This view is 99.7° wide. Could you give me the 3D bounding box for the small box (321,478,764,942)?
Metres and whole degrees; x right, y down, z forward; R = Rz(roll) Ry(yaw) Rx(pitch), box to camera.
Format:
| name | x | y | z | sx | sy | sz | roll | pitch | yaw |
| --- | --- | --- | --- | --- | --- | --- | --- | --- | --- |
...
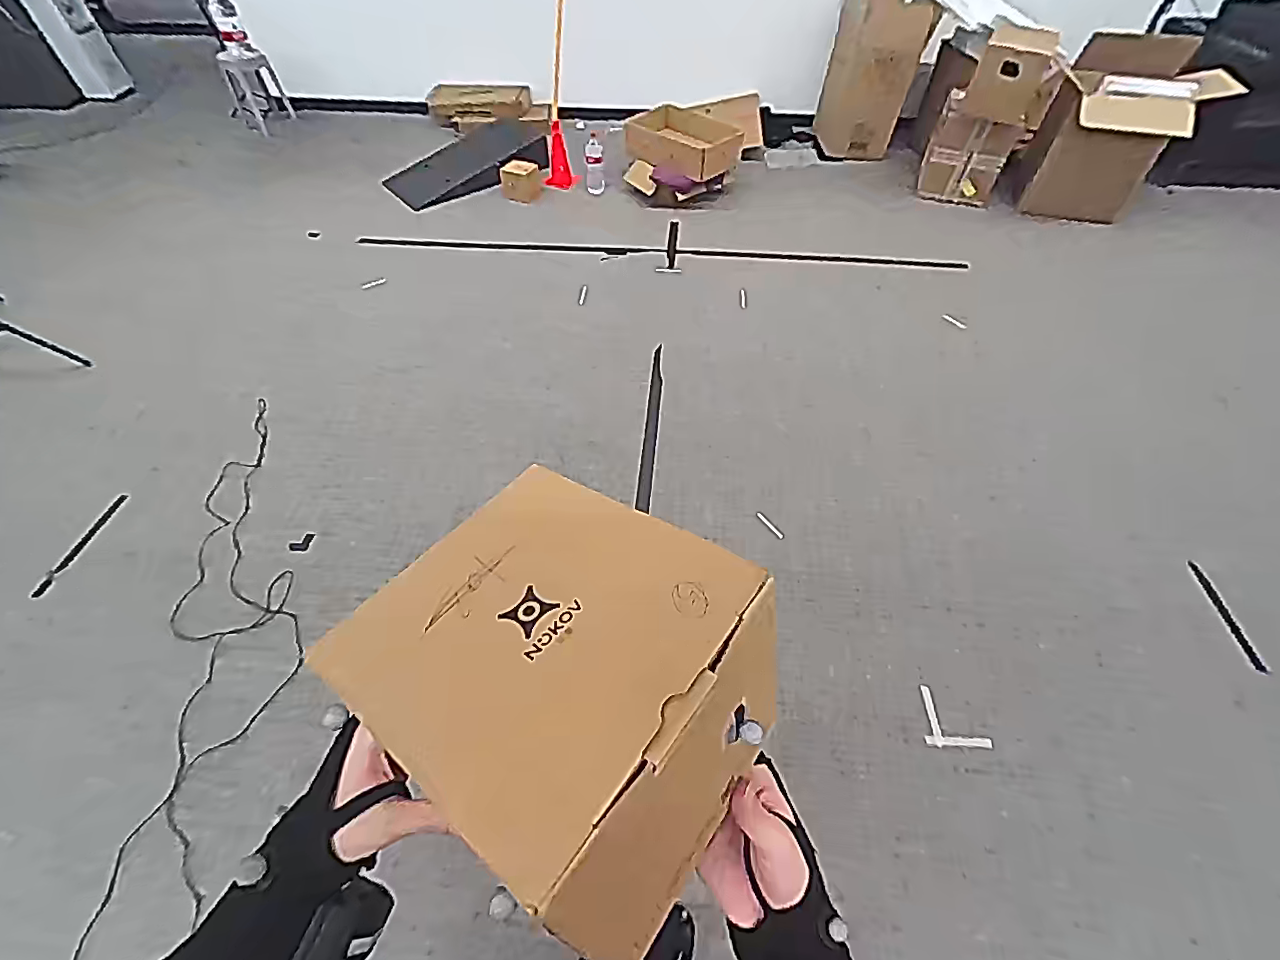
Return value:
| name | x | y | z | sx | sy | sz | roll | pitch | yaw |
| --- | --- | --- | --- | --- | --- | --- | --- | --- | --- |
| small box | -0.038 | 0.132 | 0.329 | 0.179 | 0.176 | 0.168 | 21 | 50 | 33 |
